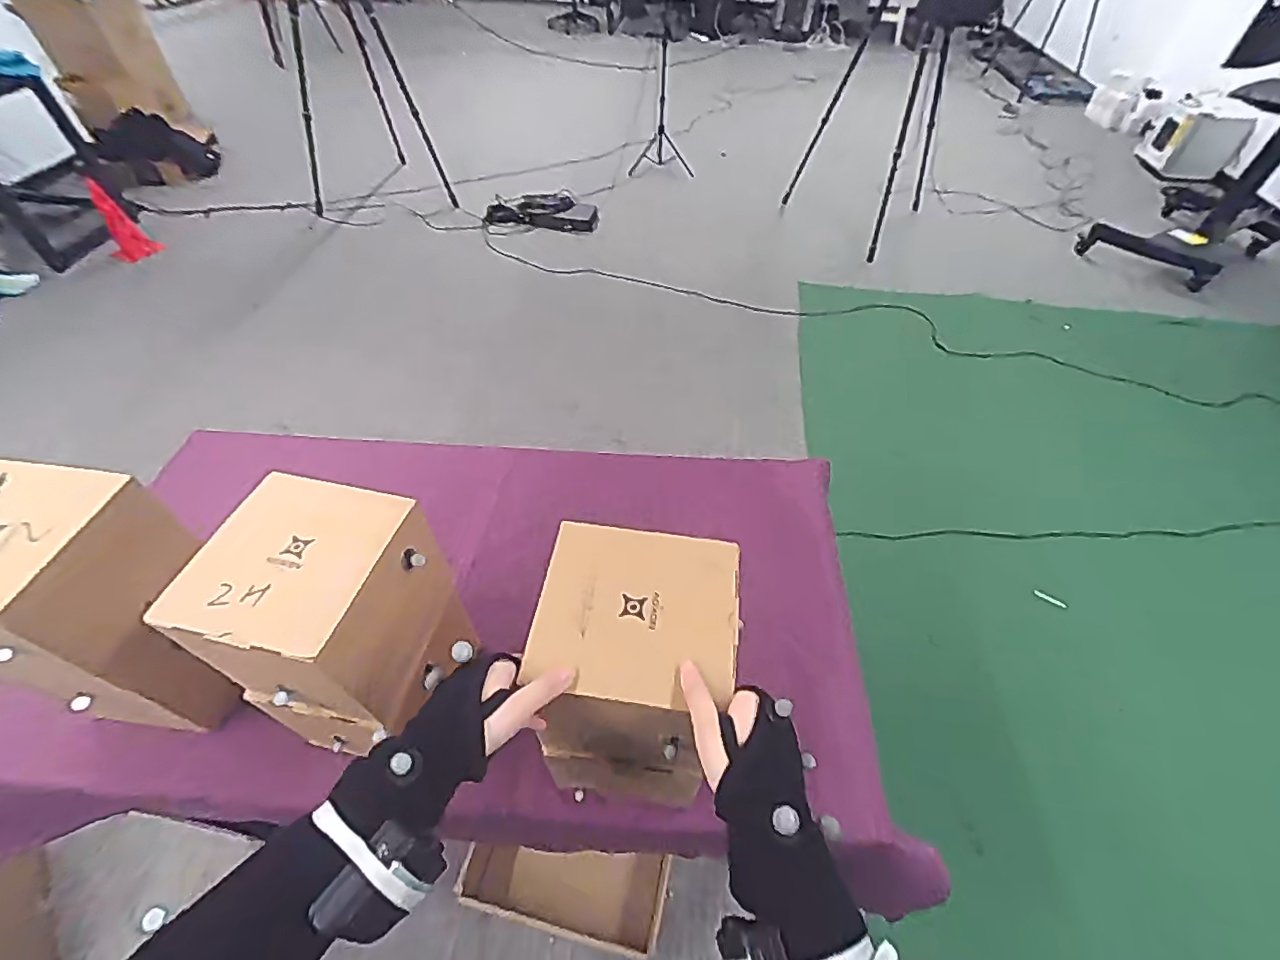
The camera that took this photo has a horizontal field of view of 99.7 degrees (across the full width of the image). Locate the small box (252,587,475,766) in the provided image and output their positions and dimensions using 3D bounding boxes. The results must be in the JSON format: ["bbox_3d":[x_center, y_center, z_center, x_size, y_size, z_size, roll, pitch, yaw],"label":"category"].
[{"bbox_3d":[-0.326,0.235,0.686,0.168,0.176,0.179,10,51,7],"label":"small box"}]

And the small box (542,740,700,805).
[{"bbox_3d":[-0.009,0.275,0.656,0.168,0.176,0.179,6,49,4],"label":"small box"}]

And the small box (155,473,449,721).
[{"bbox_3d":[-0.320,0.123,0.565,0.168,0.176,0.179,11,51,8],"label":"small box"}]

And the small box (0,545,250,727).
[{"bbox_3d":[-0.622,0.206,0.702,0.179,0.176,0.168,6,50,4],"label":"small box"}]

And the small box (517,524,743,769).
[{"bbox_3d":[-0.002,0.168,0.533,0.179,0.176,0.168,7,49,6],"label":"small box"}]
